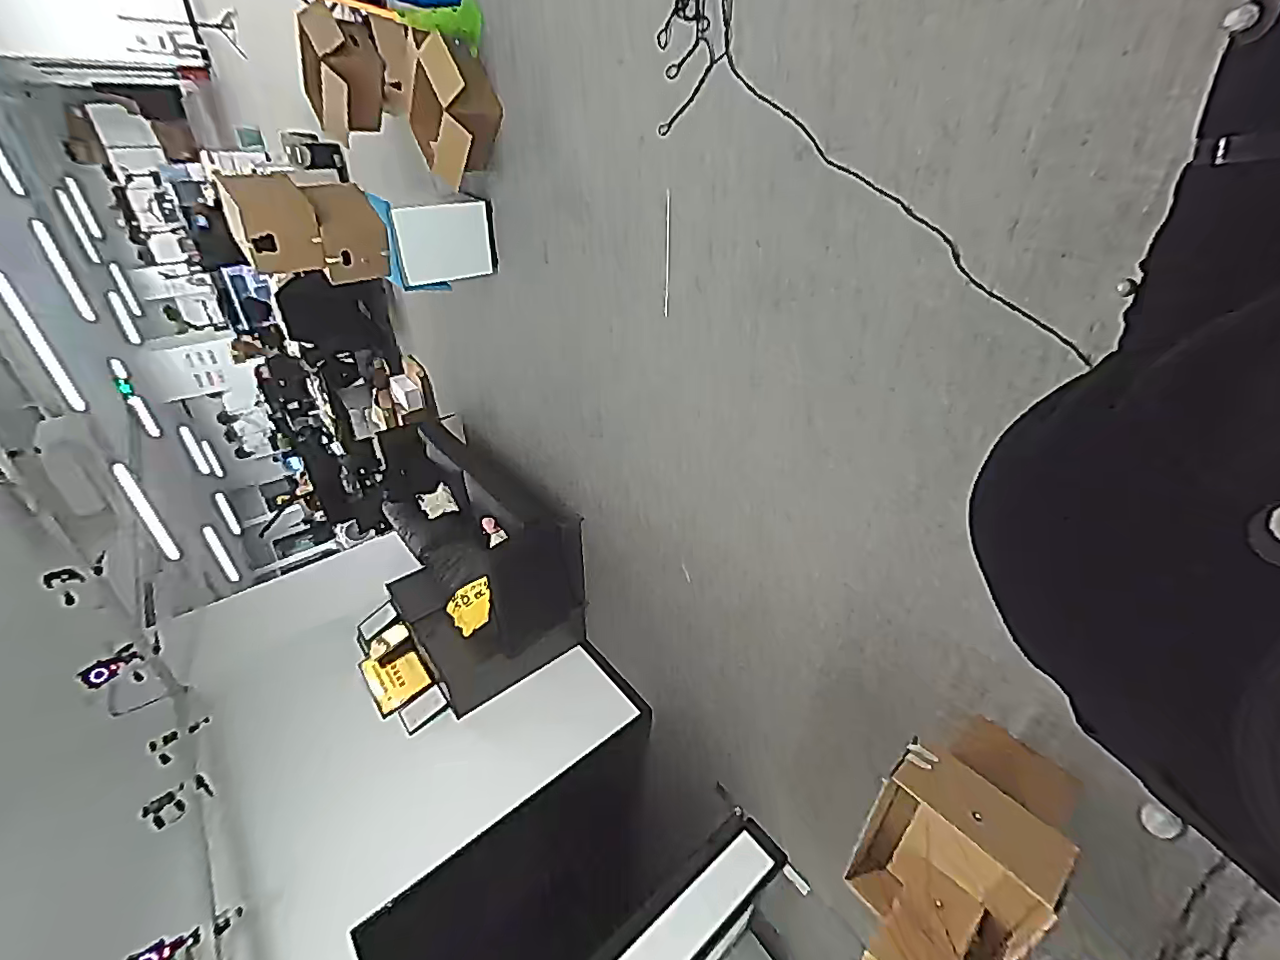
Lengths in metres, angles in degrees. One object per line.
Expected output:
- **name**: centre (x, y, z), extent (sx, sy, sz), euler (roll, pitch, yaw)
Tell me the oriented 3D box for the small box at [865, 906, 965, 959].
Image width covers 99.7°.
- **small box**: centre (0.722, 1.286, 1.435), extent (0.179, 0.176, 0.168), euler (27, 131, 43)
